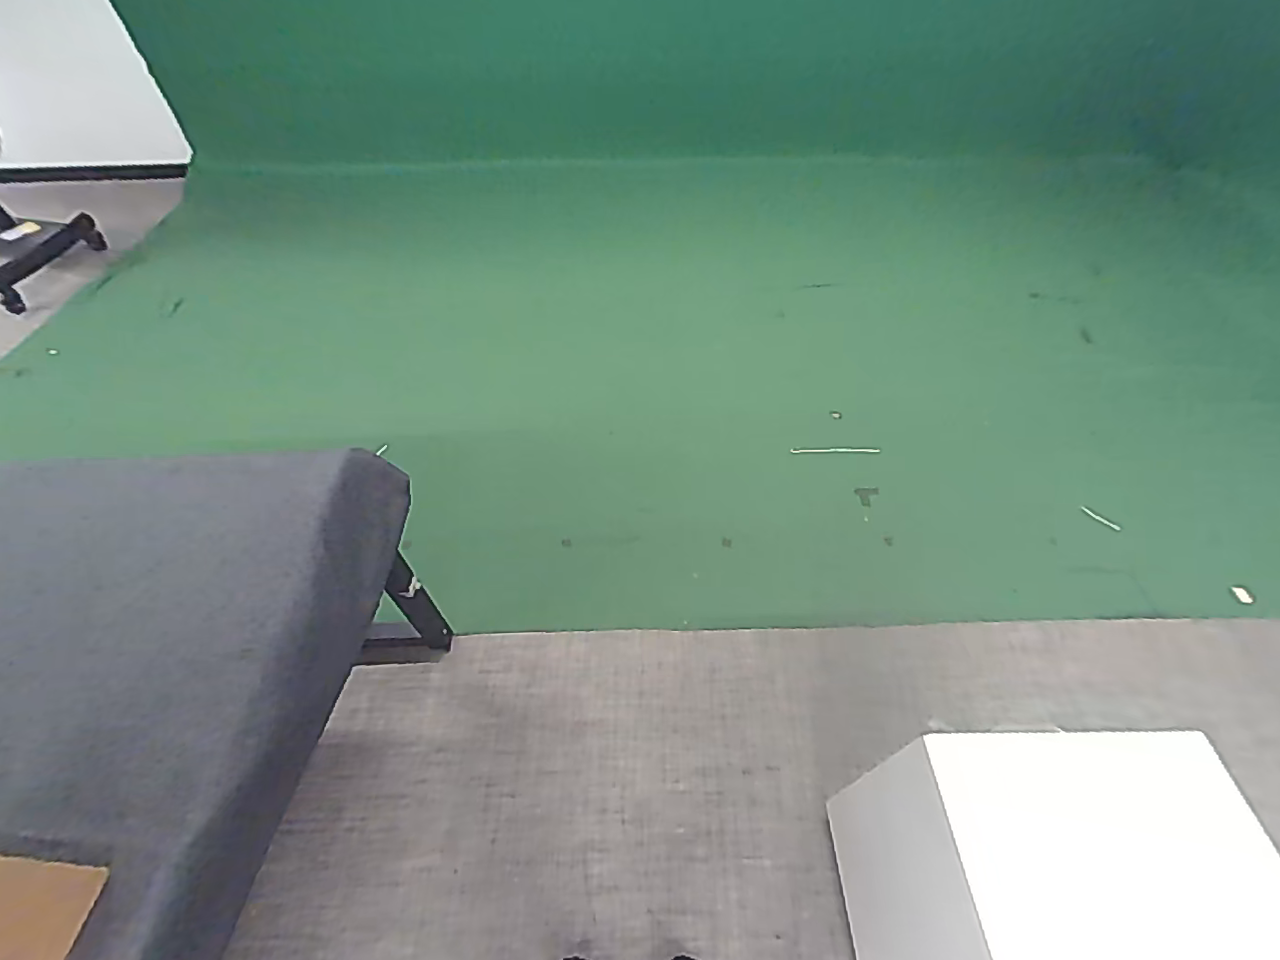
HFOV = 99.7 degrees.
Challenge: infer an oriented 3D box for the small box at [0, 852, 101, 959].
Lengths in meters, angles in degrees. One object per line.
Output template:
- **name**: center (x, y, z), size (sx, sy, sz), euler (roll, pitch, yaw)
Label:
- **small box**: center (-0.639, 0.421, 0.459), size (0.168, 0.176, 0.179), euler (0, 51, 2)
